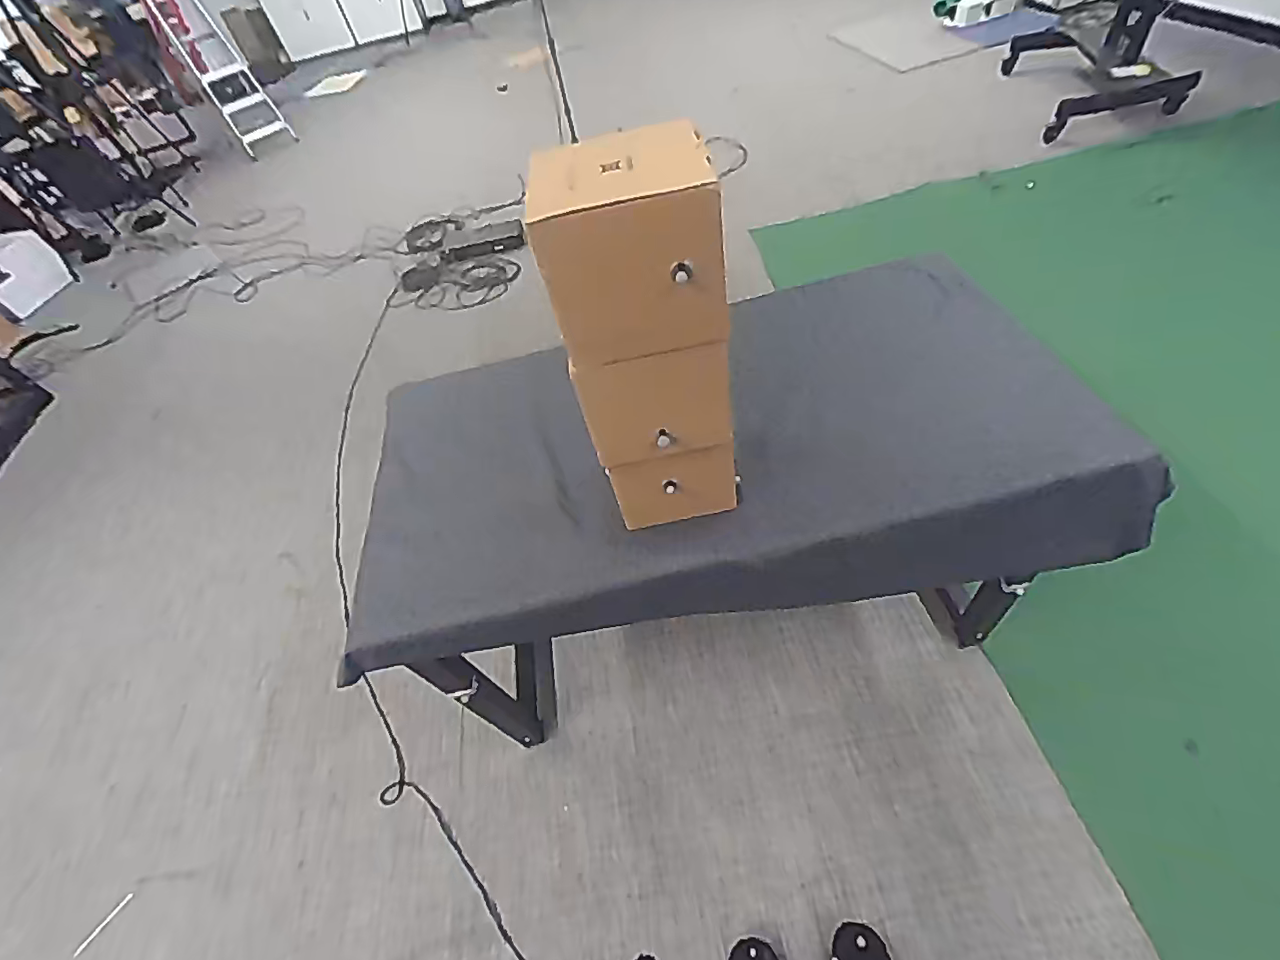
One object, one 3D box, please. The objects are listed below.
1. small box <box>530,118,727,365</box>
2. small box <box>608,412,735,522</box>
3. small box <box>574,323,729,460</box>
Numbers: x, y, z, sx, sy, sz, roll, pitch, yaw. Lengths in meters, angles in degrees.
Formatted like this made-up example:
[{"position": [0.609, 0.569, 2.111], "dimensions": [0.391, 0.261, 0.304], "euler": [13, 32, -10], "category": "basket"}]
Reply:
[{"position": [-0.006, -0.249, 0.580], "dimensions": [0.179, 0.176, 0.168], "euler": [-11, 49, 5], "category": "small box"}, {"position": [0.045, -0.056, 0.838], "dimensions": [0.179, 0.176, 0.168], "euler": [-12, 50, 4], "category": "small box"}, {"position": [0.015, -0.149, 0.707], "dimensions": [0.179, 0.176, 0.168], "euler": [-11, 50, 3], "category": "small box"}]
